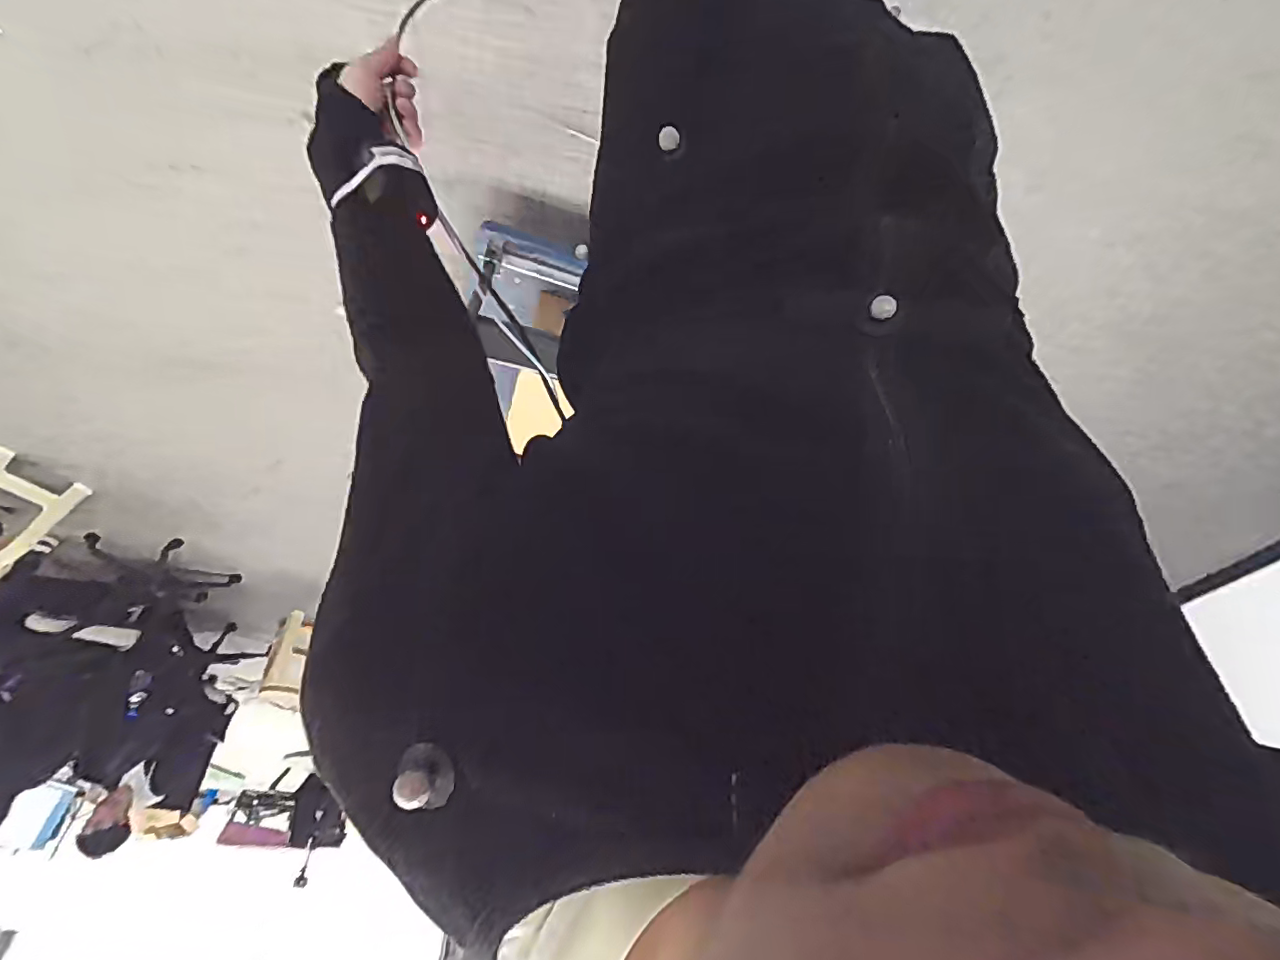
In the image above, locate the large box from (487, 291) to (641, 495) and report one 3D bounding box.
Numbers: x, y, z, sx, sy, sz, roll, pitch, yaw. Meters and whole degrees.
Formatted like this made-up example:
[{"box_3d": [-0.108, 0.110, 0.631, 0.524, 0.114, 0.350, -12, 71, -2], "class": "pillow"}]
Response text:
[{"box_3d": [-0.207, -0.220, 1.442, 0.320, 0.320, 0.408, 13, 140, -16], "class": "large box"}]
